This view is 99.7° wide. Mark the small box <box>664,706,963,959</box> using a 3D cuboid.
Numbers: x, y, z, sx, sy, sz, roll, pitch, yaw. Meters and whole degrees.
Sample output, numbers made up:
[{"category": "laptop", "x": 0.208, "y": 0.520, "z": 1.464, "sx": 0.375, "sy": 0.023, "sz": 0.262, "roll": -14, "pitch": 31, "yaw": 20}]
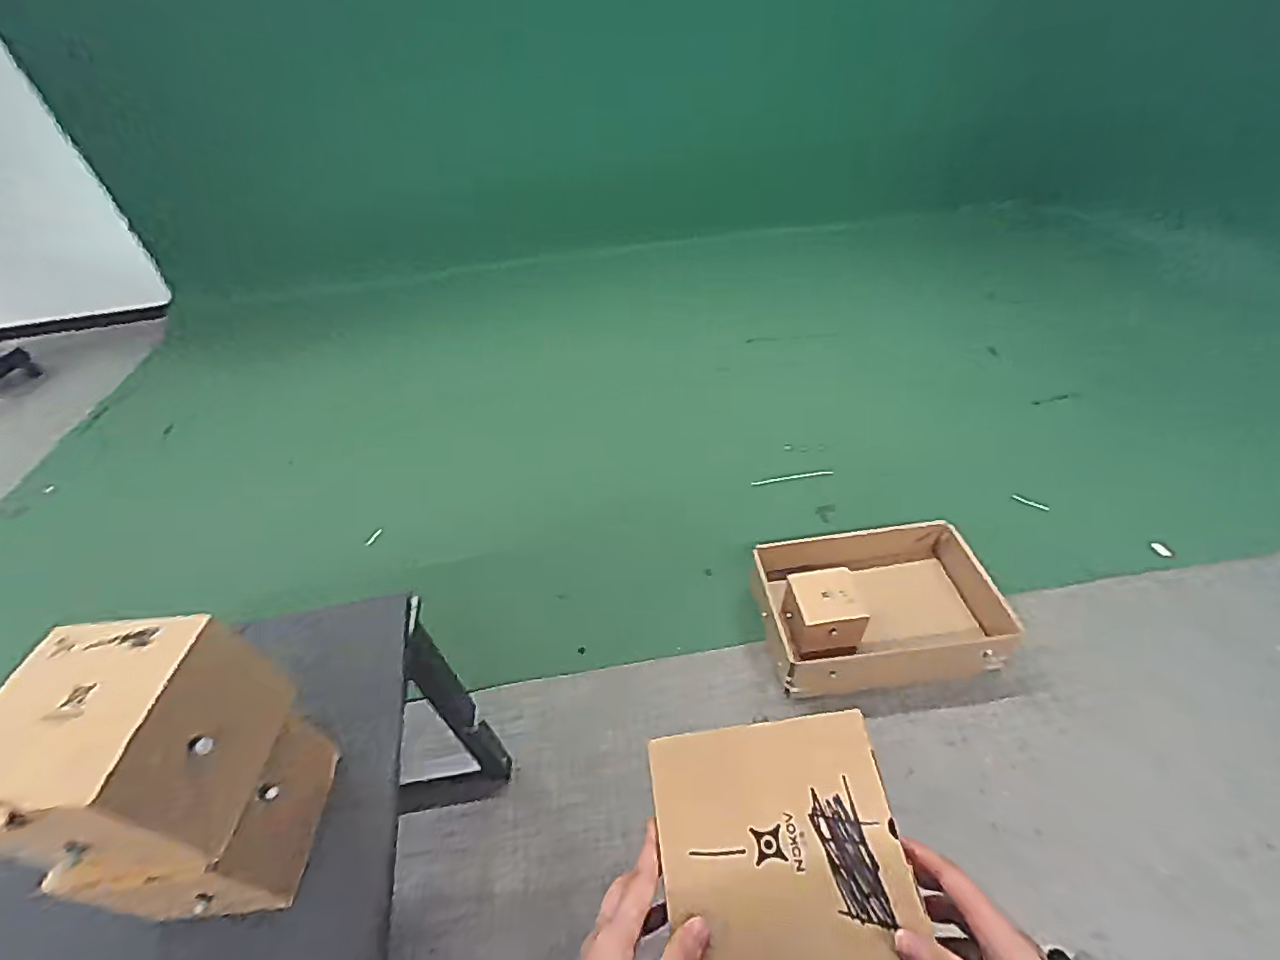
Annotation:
[{"category": "small box", "x": 0.116, "y": 0.297, "z": 0.445, "sx": 0.179, "sy": 0.176, "sz": 0.168, "roll": -8, "pitch": 56, "yaw": 0}]

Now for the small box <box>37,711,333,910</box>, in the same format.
[{"category": "small box", "x": -0.493, "y": 0.377, "z": 0.628, "sx": 0.168, "sy": 0.176, "sz": 0.179, "roll": -6, "pitch": 43, "yaw": 0}]

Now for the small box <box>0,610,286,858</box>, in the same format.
[{"category": "small box", "x": -0.491, "y": 0.249, "z": 0.524, "sx": 0.168, "sy": 0.176, "sz": 0.179, "roll": -4, "pitch": 44, "yaw": 2}]

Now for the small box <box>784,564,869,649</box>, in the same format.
[{"category": "small box", "x": 0.512, "y": 0.359, "z": 1.520, "sx": 0.179, "sy": 0.176, "sz": 0.168, "roll": -7, "pitch": 45, "yaw": -3}]
